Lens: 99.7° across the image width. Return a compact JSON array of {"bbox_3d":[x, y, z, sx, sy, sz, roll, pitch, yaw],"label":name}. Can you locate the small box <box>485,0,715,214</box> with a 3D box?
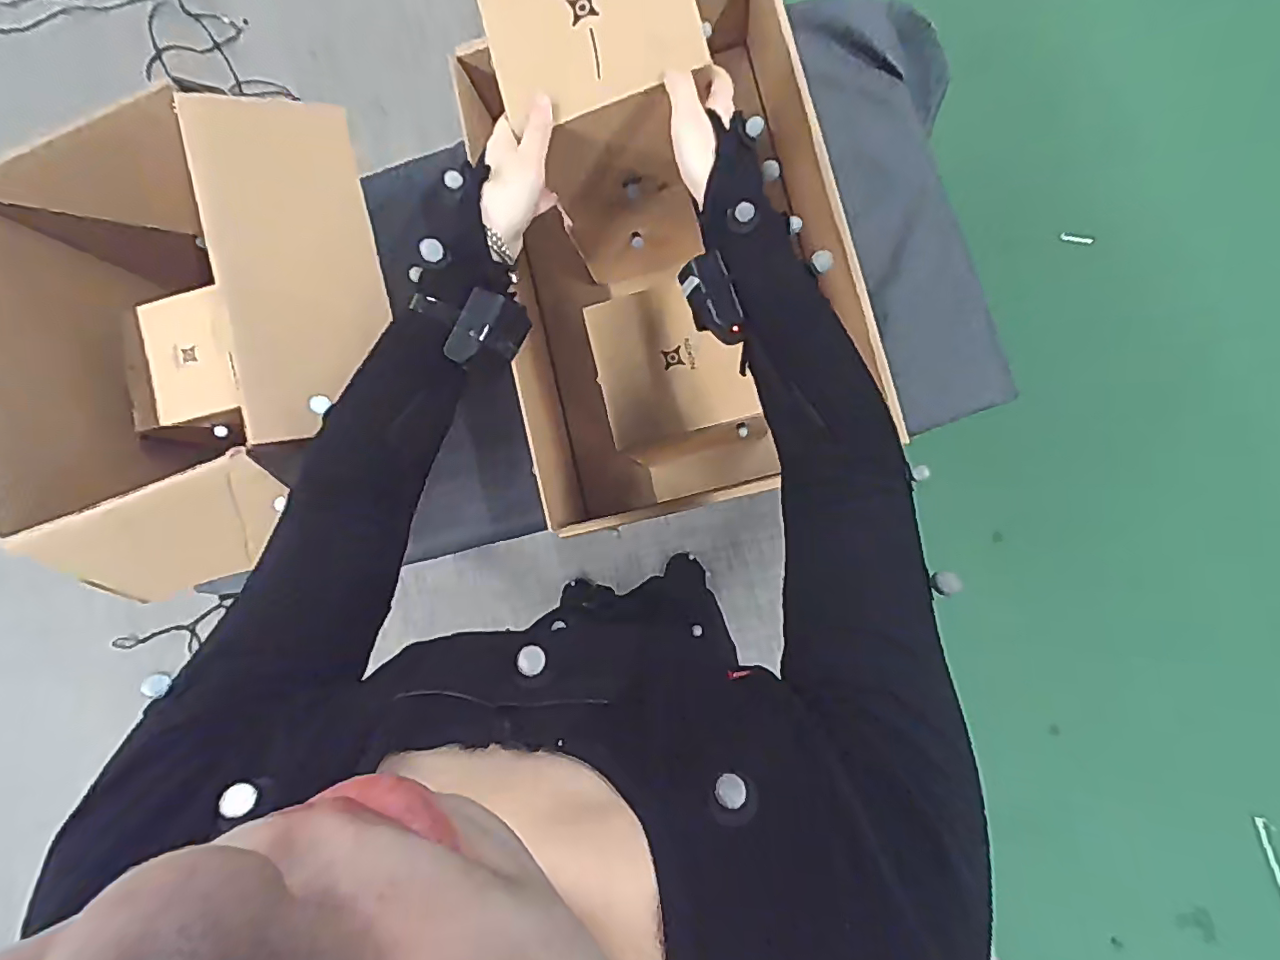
[{"bbox_3d":[-0.029,-0.386,0.502,0.168,0.176,0.179,-14,92,10],"label":"small box"}]

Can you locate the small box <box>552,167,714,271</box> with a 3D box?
[{"bbox_3d":[-0.009,-0.386,0.676,0.179,0.176,0.168,-14,88,8],"label":"small box"}]
